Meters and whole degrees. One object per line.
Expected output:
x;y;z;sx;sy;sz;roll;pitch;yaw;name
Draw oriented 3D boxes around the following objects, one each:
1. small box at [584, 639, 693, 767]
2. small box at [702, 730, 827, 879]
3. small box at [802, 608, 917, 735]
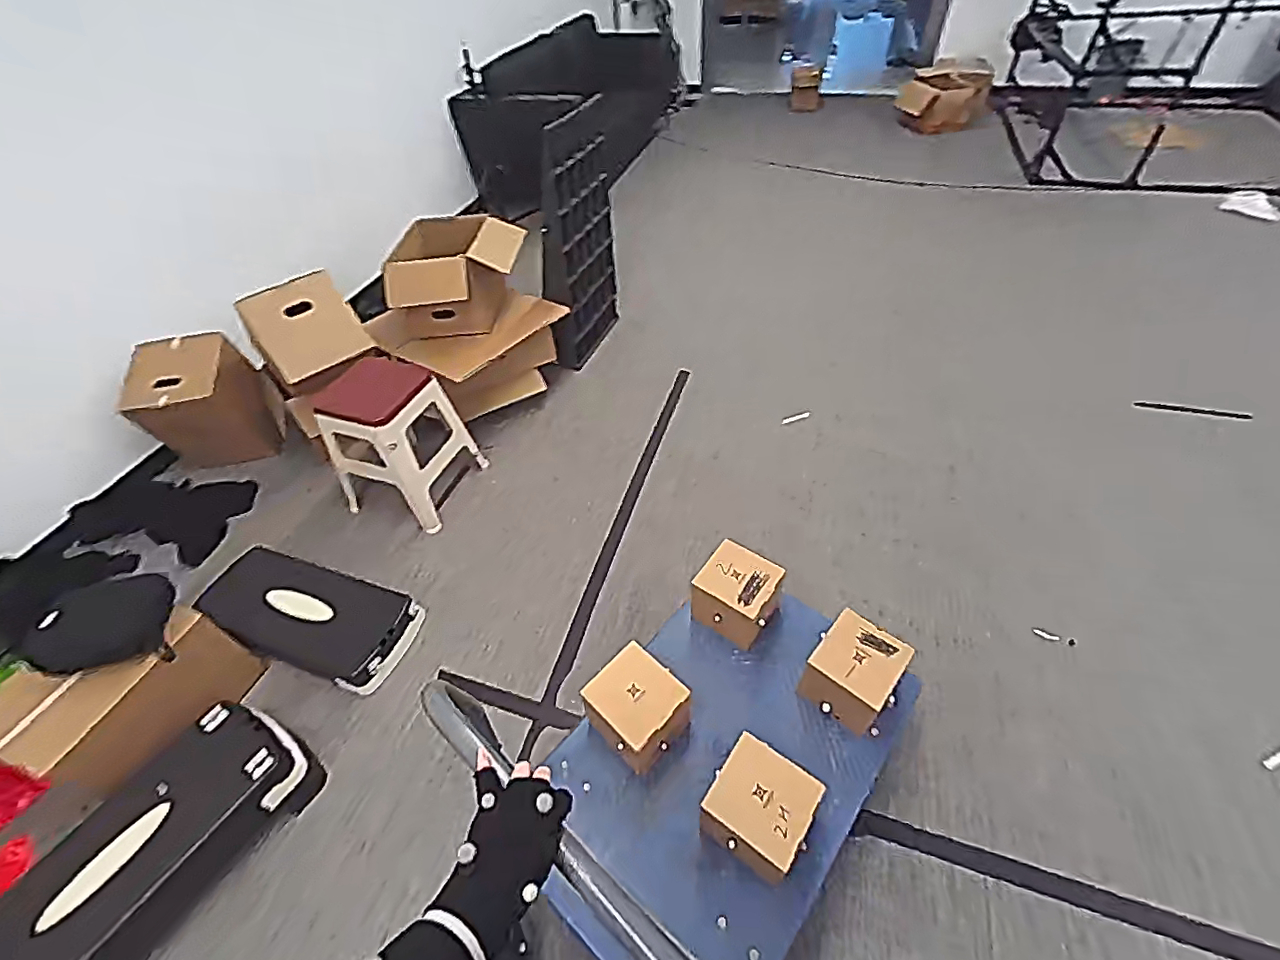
-0.003;0.497;1.198;0.179;0.176;0.168;35;57;29;small box
0.233;0.633;1.052;0.179;0.176;0.168;28;55;27;small box
0.486;0.433;1.222;0.168;0.176;0.179;32;58;30;small box
